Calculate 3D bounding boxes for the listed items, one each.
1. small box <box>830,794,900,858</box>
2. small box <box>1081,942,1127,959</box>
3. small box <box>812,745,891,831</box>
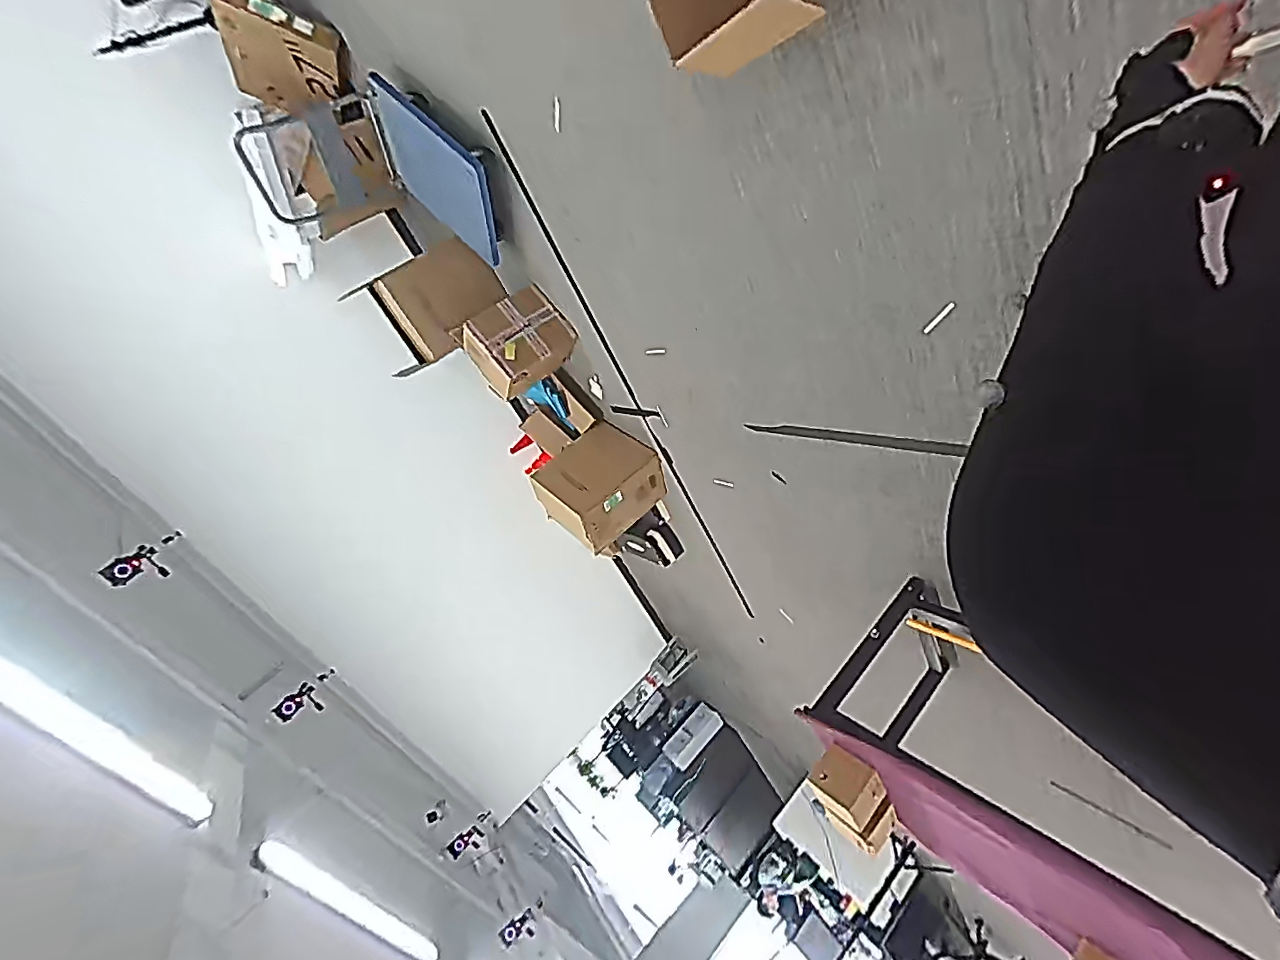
[{"bbox_3d":[0.828,1.215,1.973,0.179,0.176,0.168,23,146,51],"label":"small box"},{"bbox_3d":[1.237,1.343,1.384,0.179,0.176,0.168,12,138,58],"label":"small box"},{"bbox_3d":[0.738,1.060,1.884,0.179,0.176,0.168,17,144,53],"label":"small box"}]
